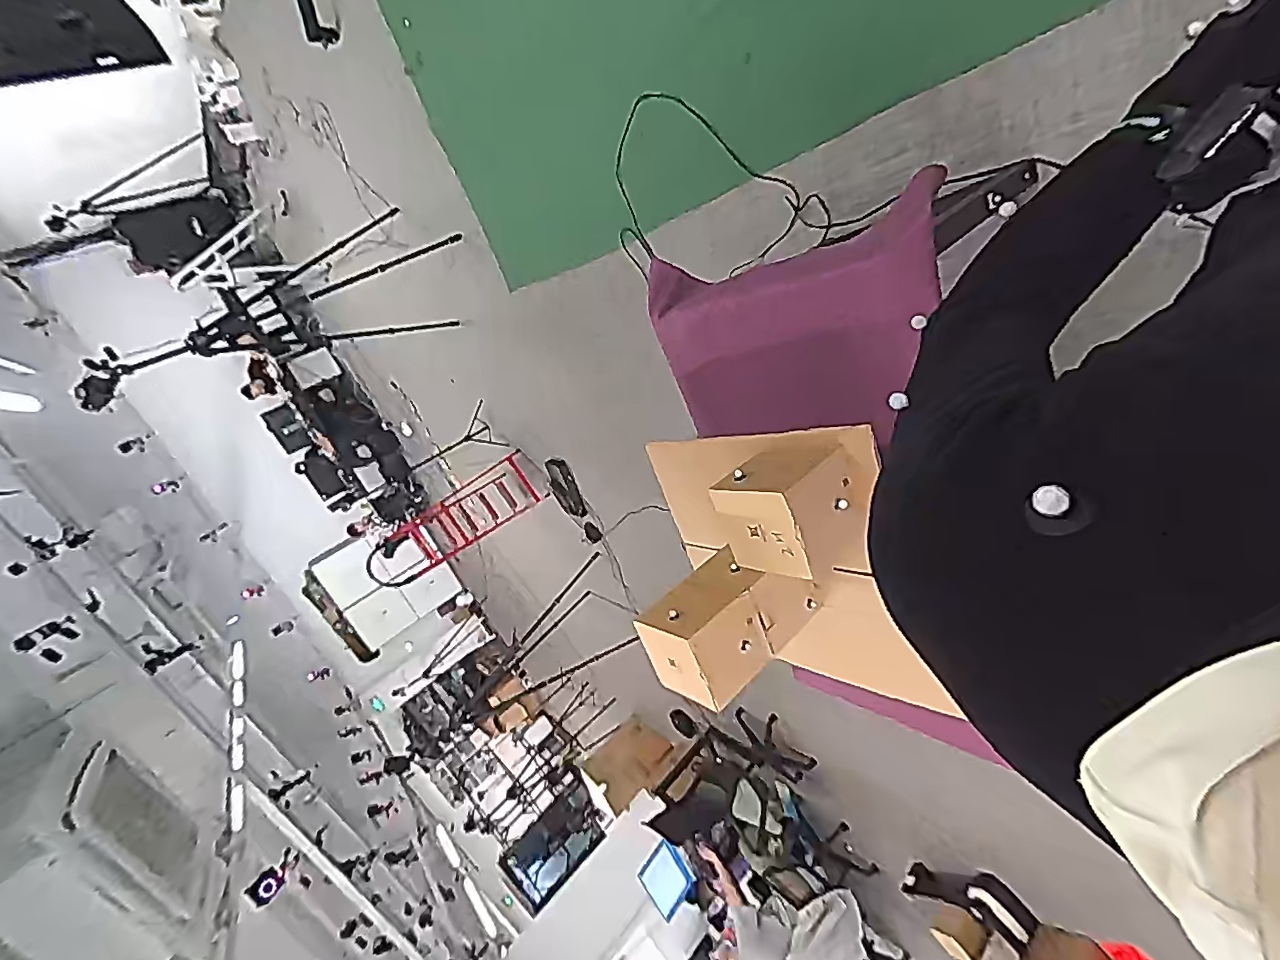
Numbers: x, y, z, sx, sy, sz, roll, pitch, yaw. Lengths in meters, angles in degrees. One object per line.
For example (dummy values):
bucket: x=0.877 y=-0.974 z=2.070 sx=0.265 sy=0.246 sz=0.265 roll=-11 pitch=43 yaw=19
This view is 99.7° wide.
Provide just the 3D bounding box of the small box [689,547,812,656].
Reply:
small box: x=0.240 y=0.236 z=1.146 sx=0.179 sy=0.176 sz=0.168 roll=1 pitch=118 yaw=55

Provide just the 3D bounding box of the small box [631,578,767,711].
small box: x=0.119 y=0.312 z=1.069 sx=0.179 sy=0.176 sz=0.168 roll=-1 pitch=116 yaw=54

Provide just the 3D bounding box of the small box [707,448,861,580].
small box: x=0.256 y=0.051 z=0.957 sx=0.179 sy=0.176 sz=0.168 roll=2 pitch=120 yaw=54
